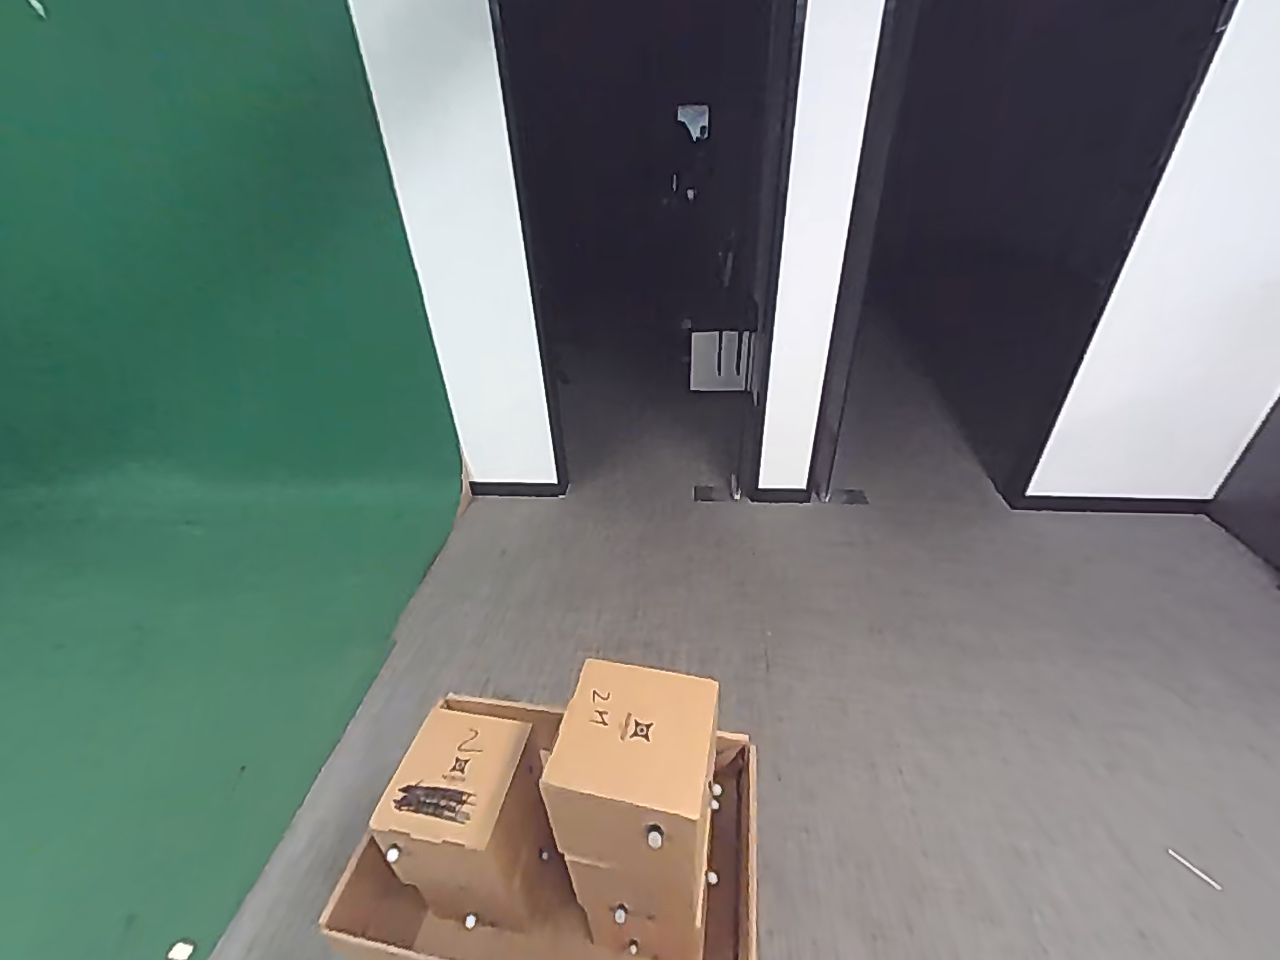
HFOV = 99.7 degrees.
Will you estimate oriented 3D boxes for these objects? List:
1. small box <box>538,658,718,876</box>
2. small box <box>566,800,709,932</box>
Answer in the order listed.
[{"bbox_3d":[-0.001,0.351,0.668,0.179,0.176,0.168,4,34,14],"label":"small box"},{"bbox_3d":[0.008,0.486,0.763,0.168,0.176,0.179,4,35,12],"label":"small box"}]
